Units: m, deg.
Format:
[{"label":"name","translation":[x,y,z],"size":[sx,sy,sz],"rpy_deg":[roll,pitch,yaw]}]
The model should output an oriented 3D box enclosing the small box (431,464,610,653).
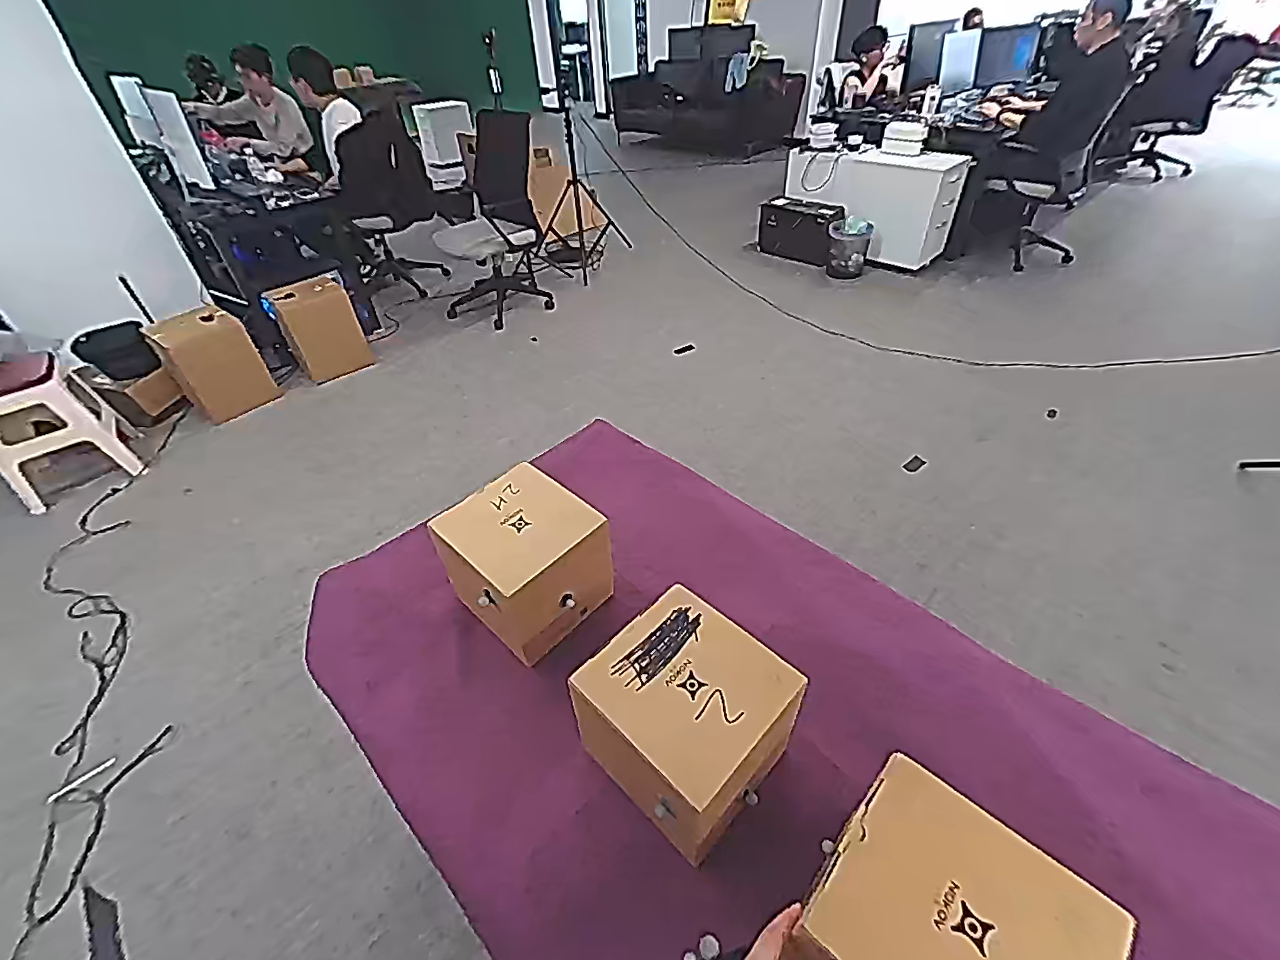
[{"label":"small box","translation":[-0.156,0.115,0.761],"size":[0.179,0.176,0.168],"rpy_deg":[32,52,30]}]
